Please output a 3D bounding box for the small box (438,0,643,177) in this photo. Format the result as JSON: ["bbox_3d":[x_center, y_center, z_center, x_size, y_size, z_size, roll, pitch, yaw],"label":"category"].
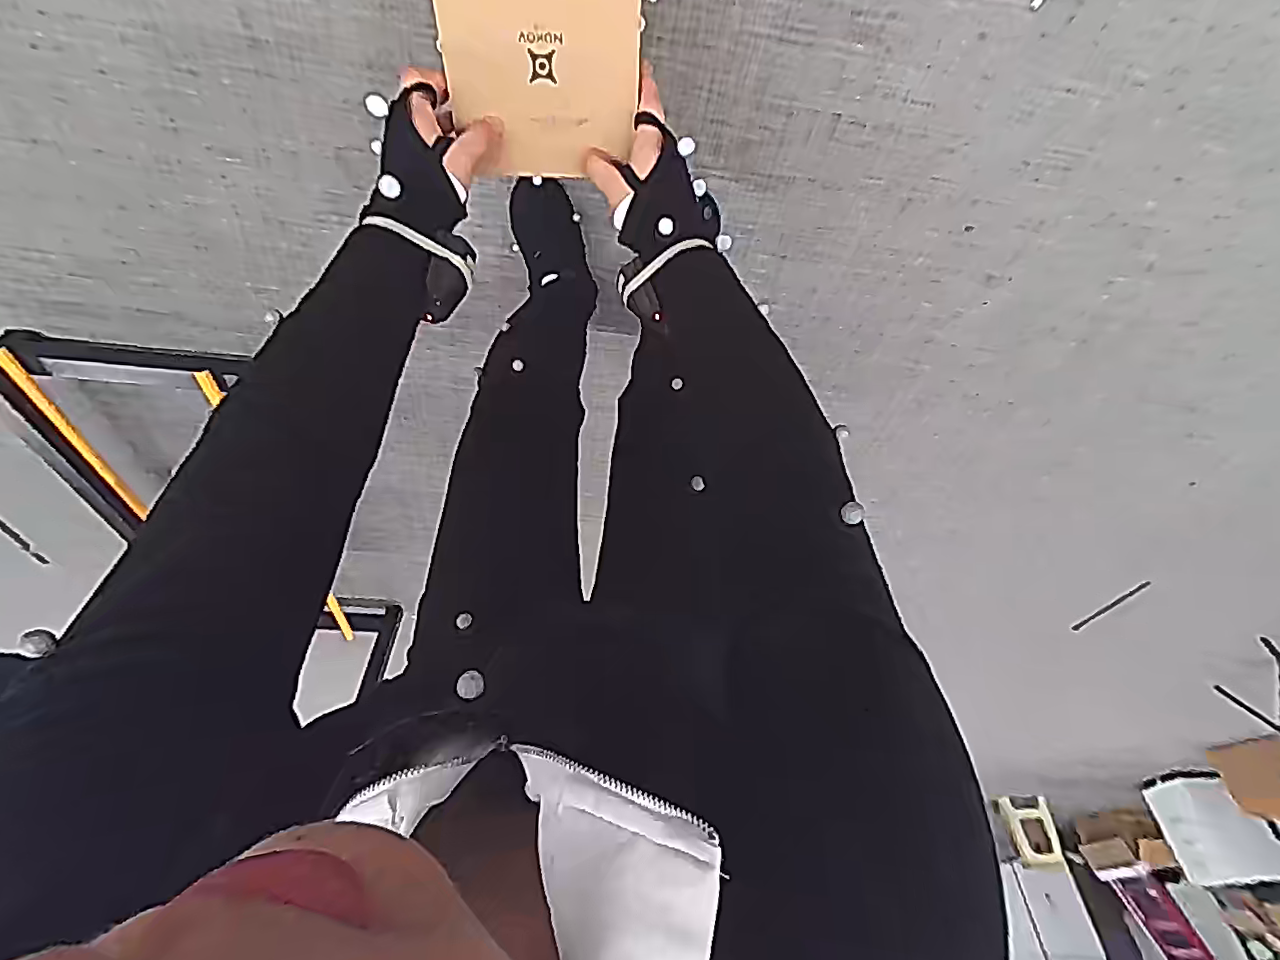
[{"bbox_3d":[-0.083,-0.407,0.513,0.168,0.176,0.179,1,133,-1],"label":"small box"}]
